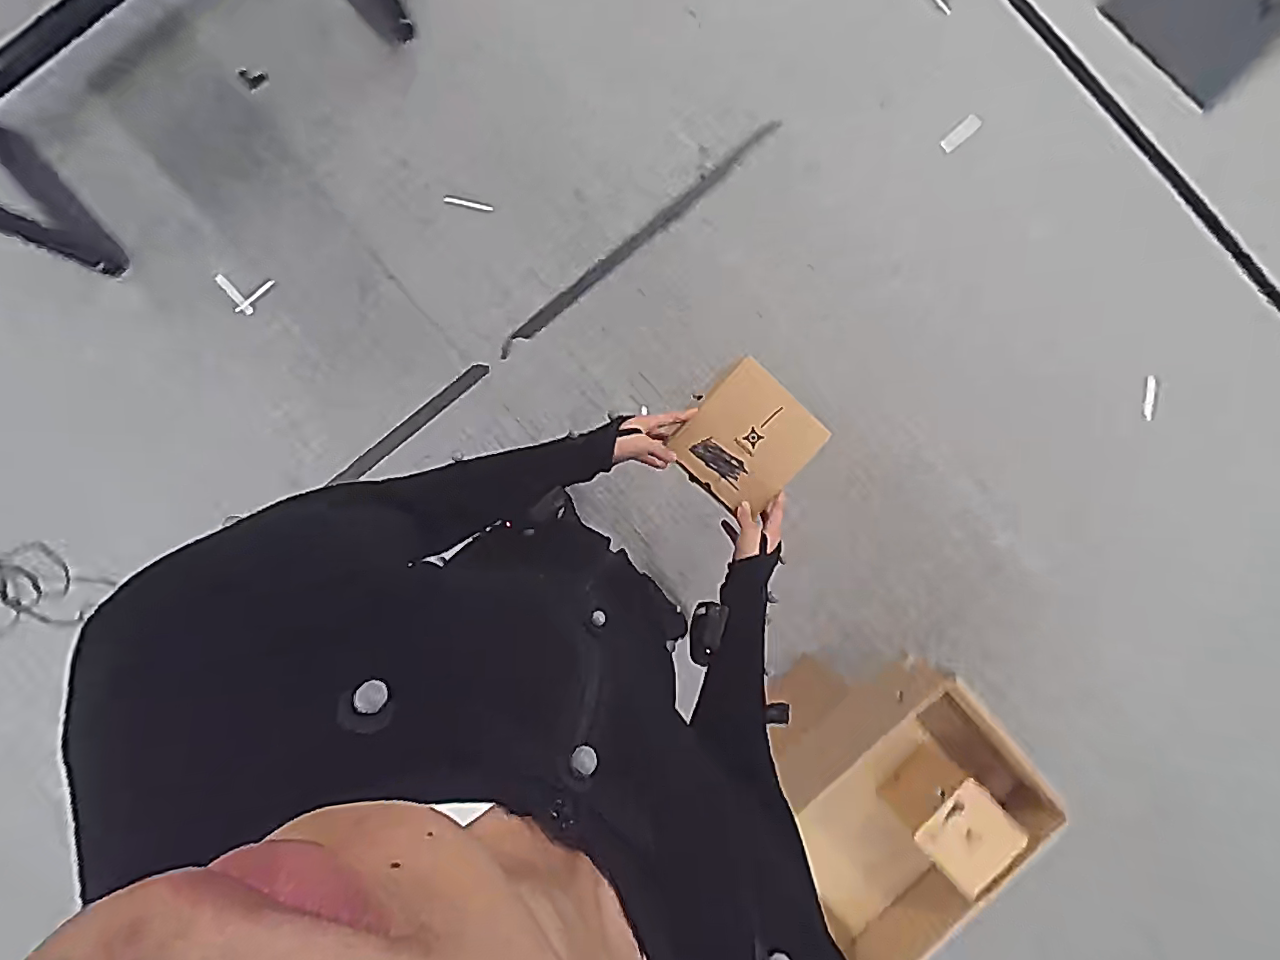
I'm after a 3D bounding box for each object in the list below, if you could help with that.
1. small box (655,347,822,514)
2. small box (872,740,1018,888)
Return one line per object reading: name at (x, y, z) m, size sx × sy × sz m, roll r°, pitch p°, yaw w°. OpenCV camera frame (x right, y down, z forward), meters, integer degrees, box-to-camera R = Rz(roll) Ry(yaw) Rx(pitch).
small box at (0.137, -0.075, 0.828) m, size 0.168 × 0.176 × 0.179 m, roll 41°, pitch 92°, yaw -7°
small box at (0.648, 0.708, 1.168) m, size 0.168 × 0.176 × 0.179 m, roll -43°, pitch 91°, yaw -3°
